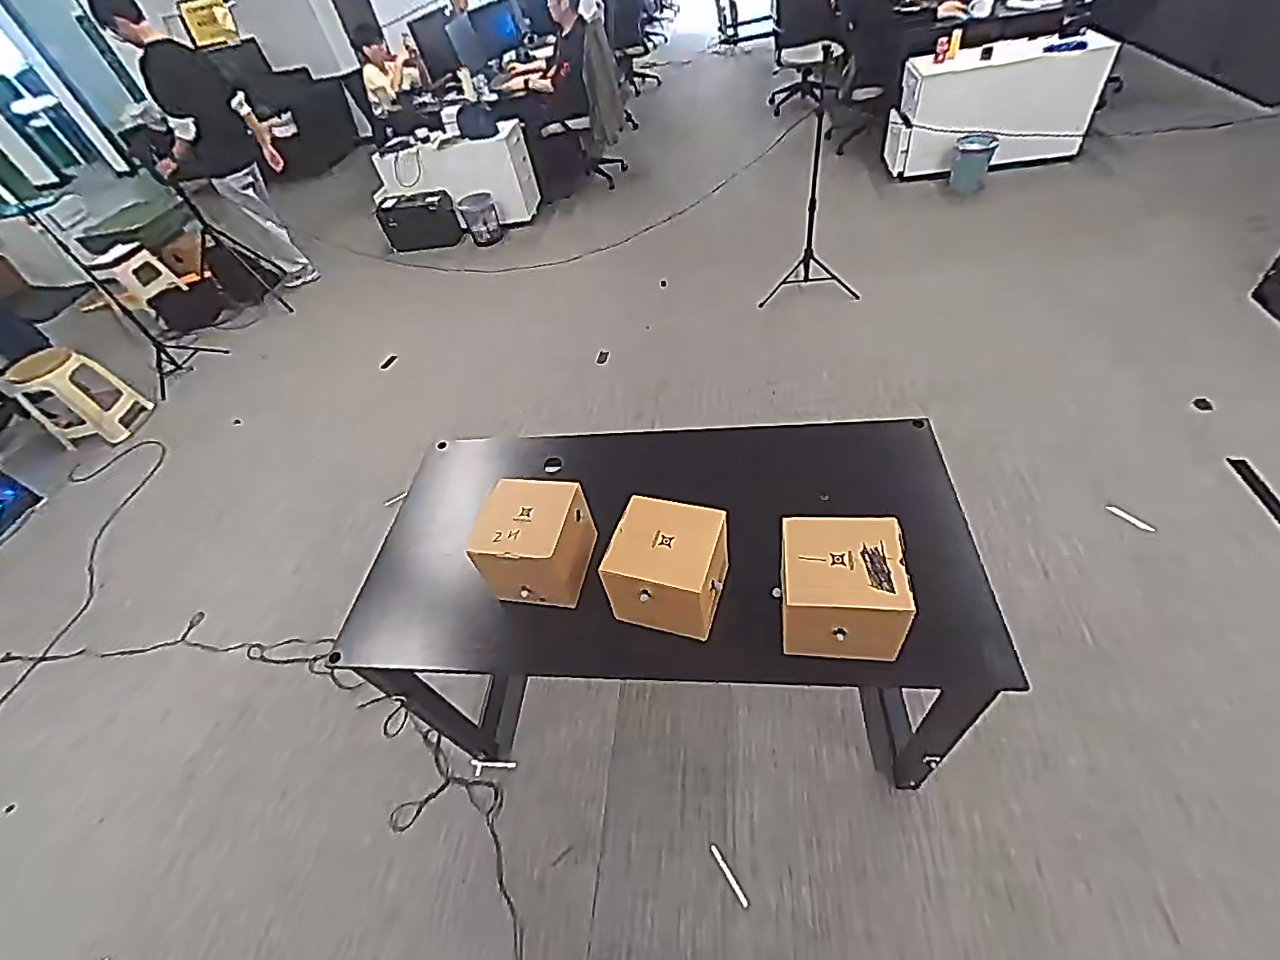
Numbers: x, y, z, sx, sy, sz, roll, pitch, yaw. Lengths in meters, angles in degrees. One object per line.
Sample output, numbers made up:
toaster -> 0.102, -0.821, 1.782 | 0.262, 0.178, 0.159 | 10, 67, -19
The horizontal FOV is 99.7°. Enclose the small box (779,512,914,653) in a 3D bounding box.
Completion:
small box -> 0.318, 0.167, 0.872 | 0.179, 0.176, 0.168 | -1, 48, 13

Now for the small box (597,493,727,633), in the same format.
small box -> 0.050, 0.148, 0.950 | 0.179, 0.176, 0.168 | 8, 50, 20

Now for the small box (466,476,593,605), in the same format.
small box -> -0.198, 0.115, 1.033 | 0.168, 0.176, 0.179 | 2, 50, 15
